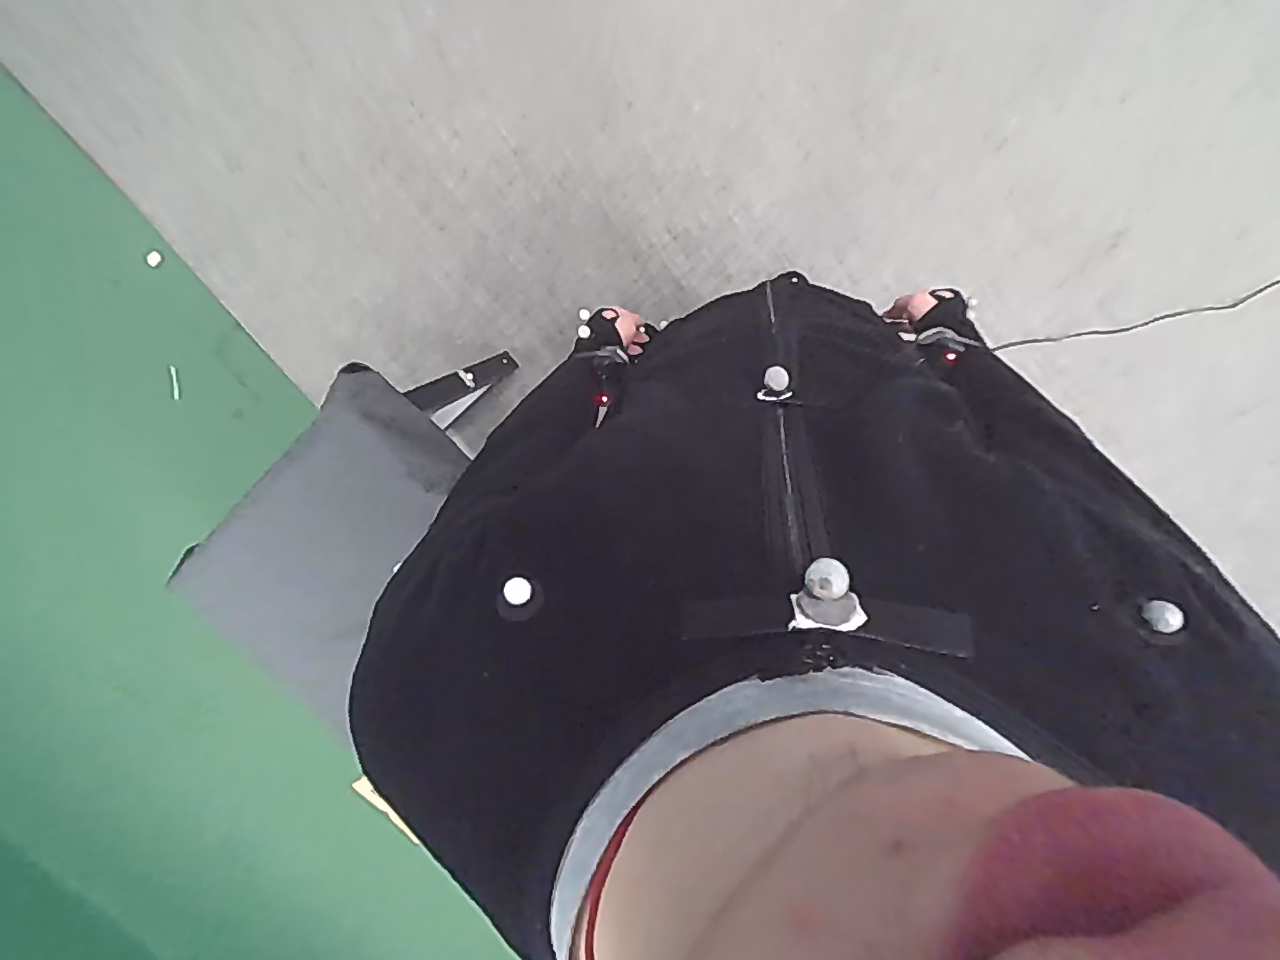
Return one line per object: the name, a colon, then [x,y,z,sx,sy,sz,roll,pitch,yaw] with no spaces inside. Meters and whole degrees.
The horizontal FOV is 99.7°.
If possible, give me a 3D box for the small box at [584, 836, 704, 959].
small box: [0.012,0.880,1.110,0.179,0.176,0.168,-38,102,19]
